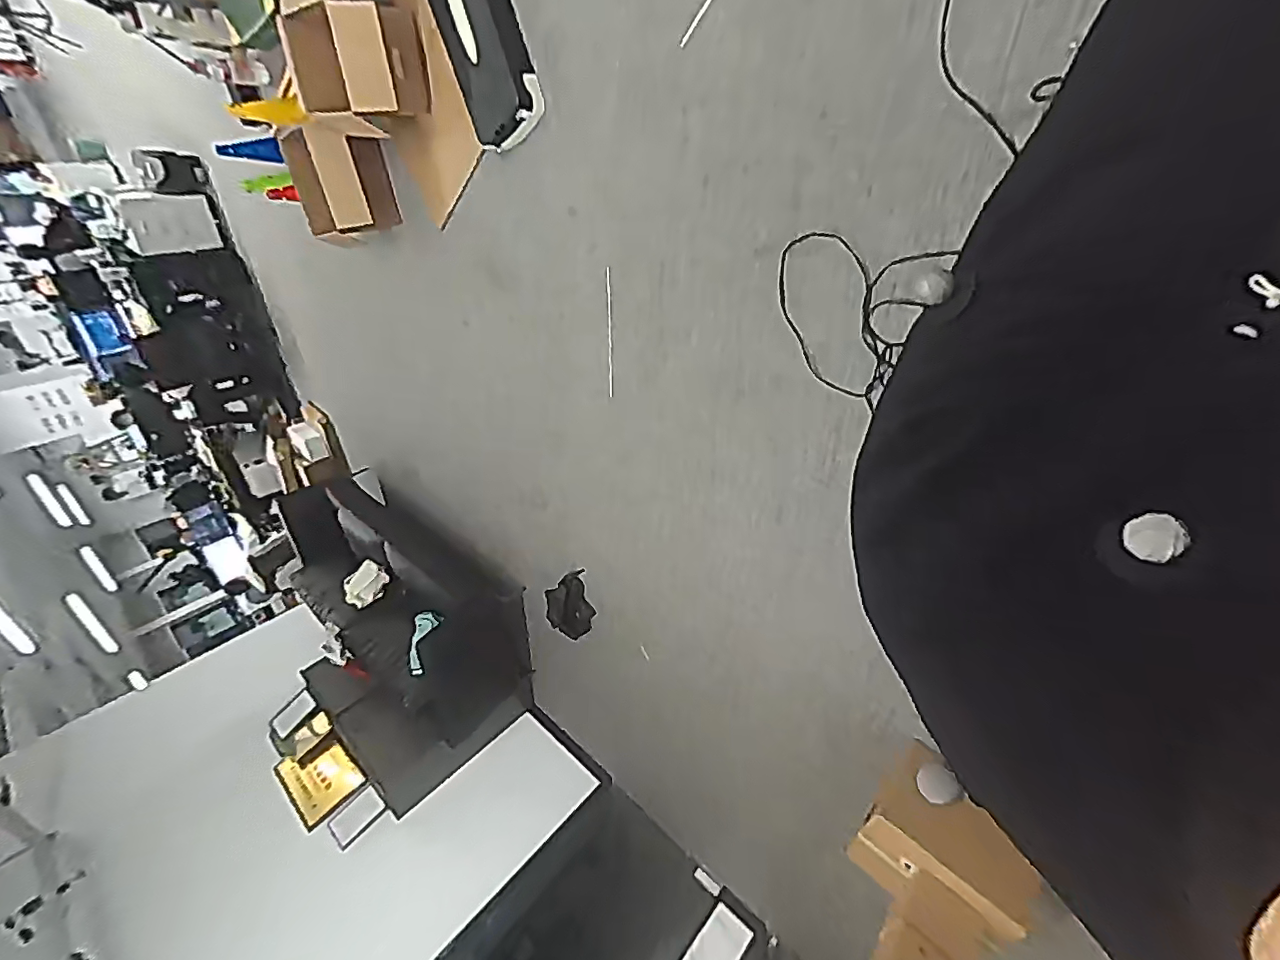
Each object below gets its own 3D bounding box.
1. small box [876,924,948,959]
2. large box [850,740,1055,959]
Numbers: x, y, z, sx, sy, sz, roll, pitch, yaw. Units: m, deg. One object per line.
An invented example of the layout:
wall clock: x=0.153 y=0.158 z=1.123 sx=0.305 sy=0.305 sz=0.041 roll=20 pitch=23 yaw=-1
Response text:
small box: x=0.686 y=1.270 z=1.354 sx=0.168 sy=0.176 sz=0.179 roll=33 pitch=136 yaw=32
large box: x=0.929 y=1.098 z=1.635 sx=0.408 sy=0.320 sz=0.320 roll=33 pitch=134 yaw=31
